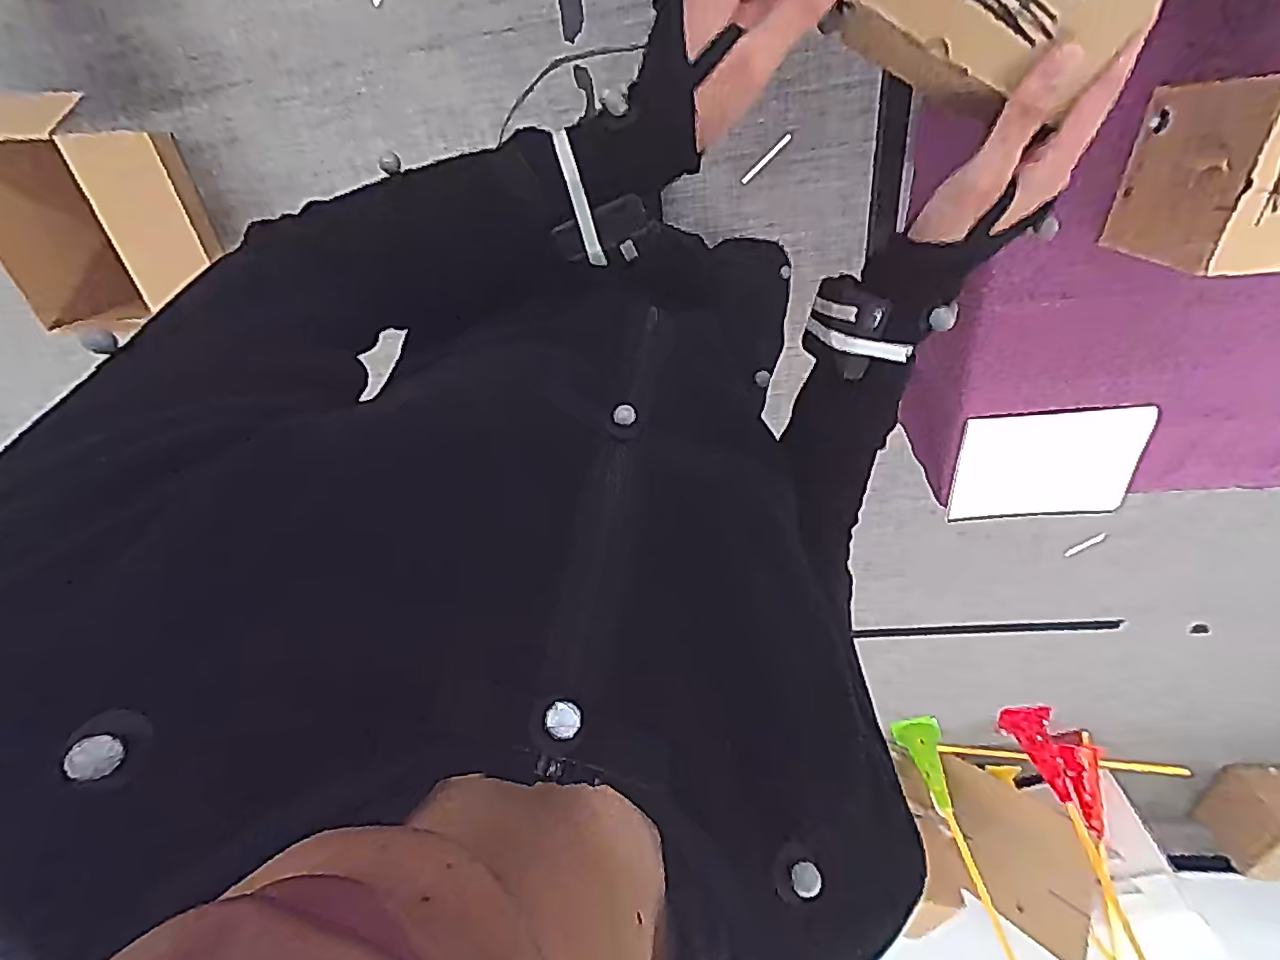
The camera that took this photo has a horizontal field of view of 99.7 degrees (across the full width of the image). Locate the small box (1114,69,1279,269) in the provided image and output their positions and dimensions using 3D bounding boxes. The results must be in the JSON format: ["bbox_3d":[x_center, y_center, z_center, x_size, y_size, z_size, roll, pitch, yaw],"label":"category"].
[{"bbox_3d":[0.659,-0.325,0.560,0.179,0.176,0.168,-2,124,5],"label":"small box"}]
